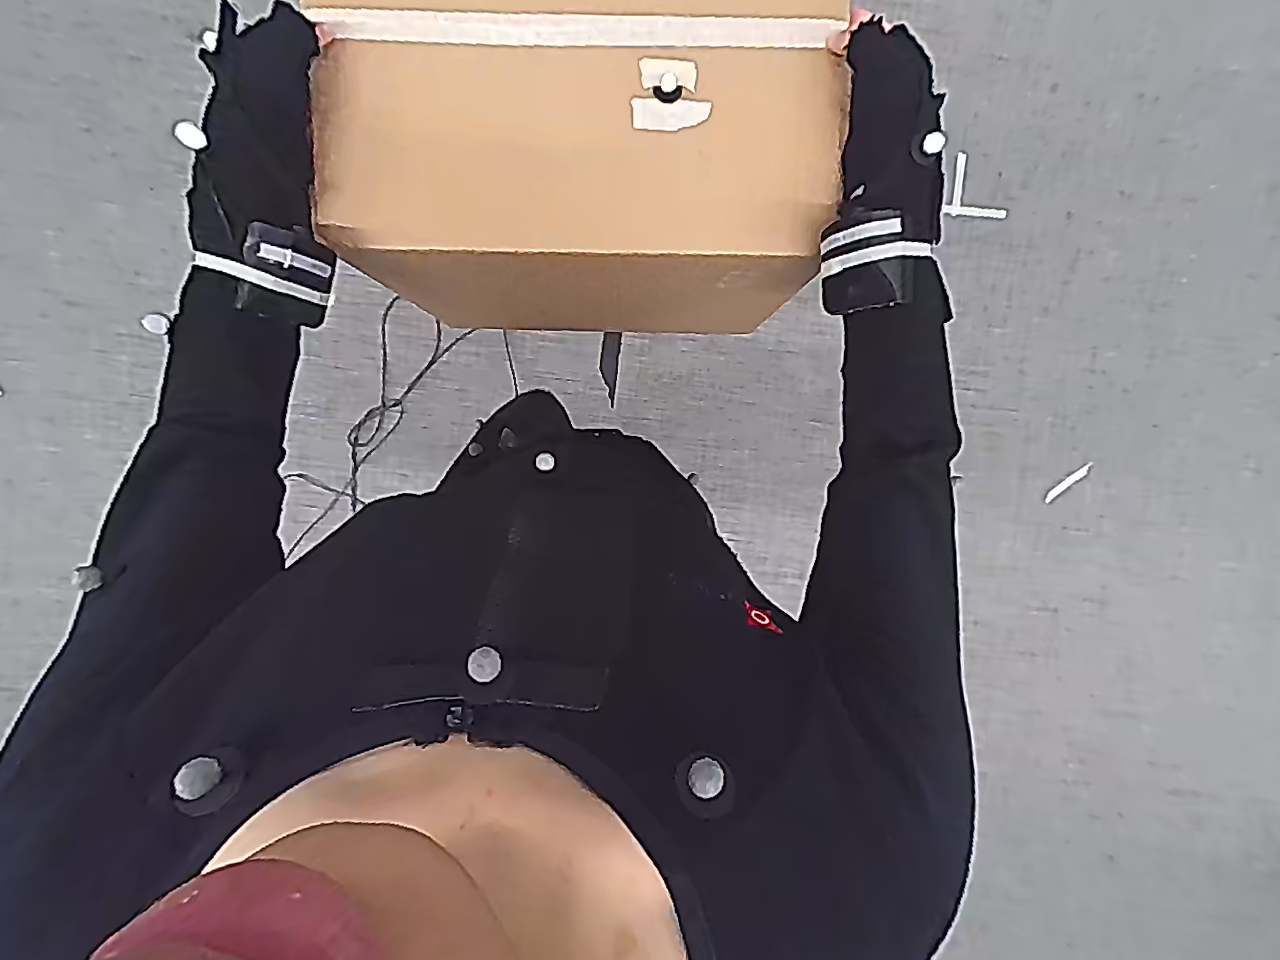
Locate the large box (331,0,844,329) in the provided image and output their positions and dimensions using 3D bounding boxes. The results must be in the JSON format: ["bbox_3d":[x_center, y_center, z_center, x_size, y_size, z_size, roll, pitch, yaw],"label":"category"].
[{"bbox_3d":[-0.044,-0.348,0.568,0.408,0.320,0.320,0,94,-1],"label":"large box"}]
